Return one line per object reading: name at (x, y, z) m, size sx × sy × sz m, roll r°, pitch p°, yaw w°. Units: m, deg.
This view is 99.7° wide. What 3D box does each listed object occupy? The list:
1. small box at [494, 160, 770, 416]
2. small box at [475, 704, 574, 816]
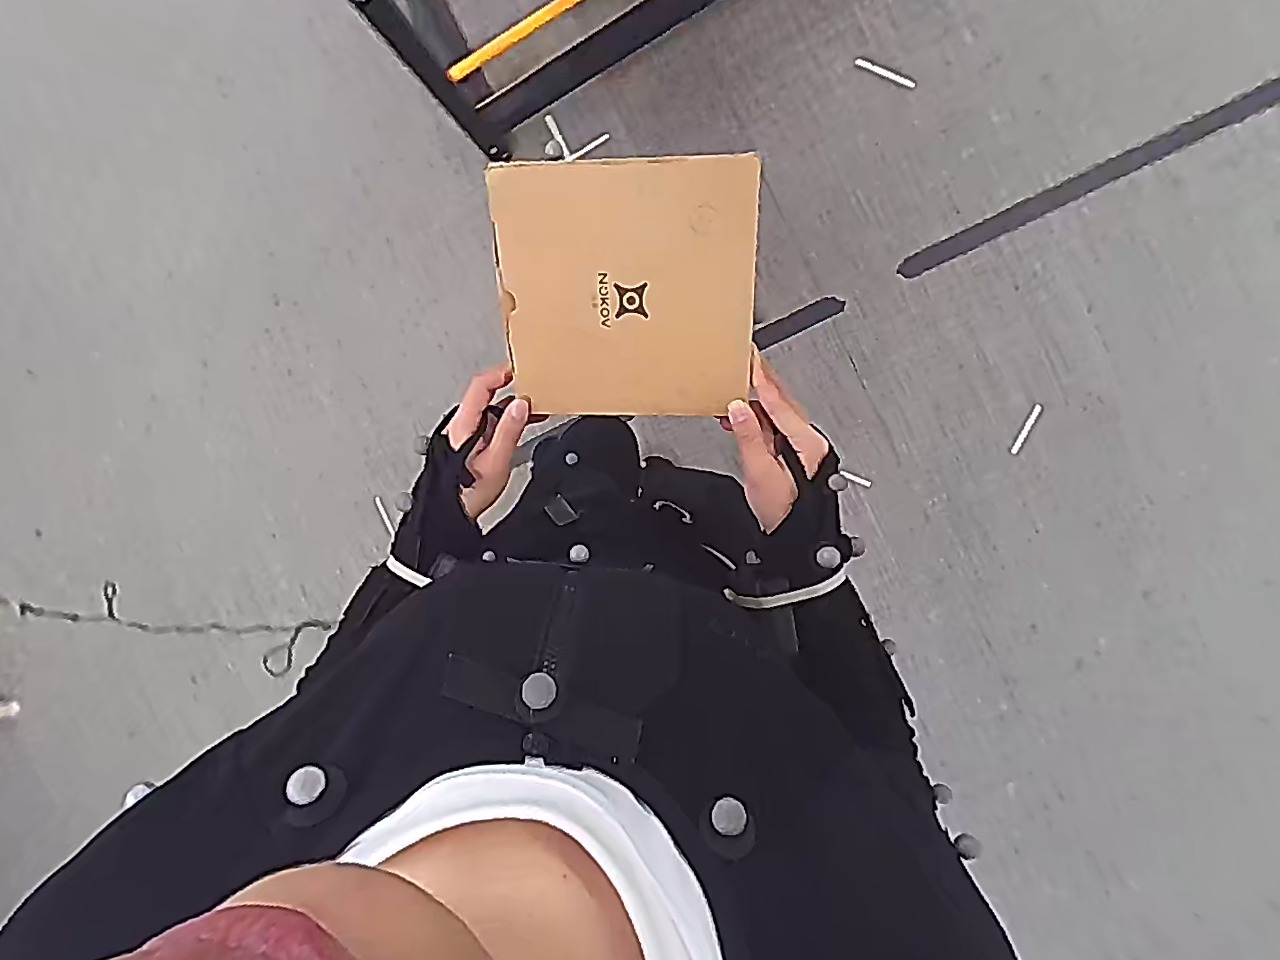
small box at (0.003, -0.158, 0.438) m, size 0.179 × 0.176 × 0.168 m, roll 3°, pitch 115°, yaw 8°
small box at (-0.286, 0.713, 1.398) m, size 0.179 × 0.176 × 0.168 m, roll -27°, pitch 91°, yaw 10°
